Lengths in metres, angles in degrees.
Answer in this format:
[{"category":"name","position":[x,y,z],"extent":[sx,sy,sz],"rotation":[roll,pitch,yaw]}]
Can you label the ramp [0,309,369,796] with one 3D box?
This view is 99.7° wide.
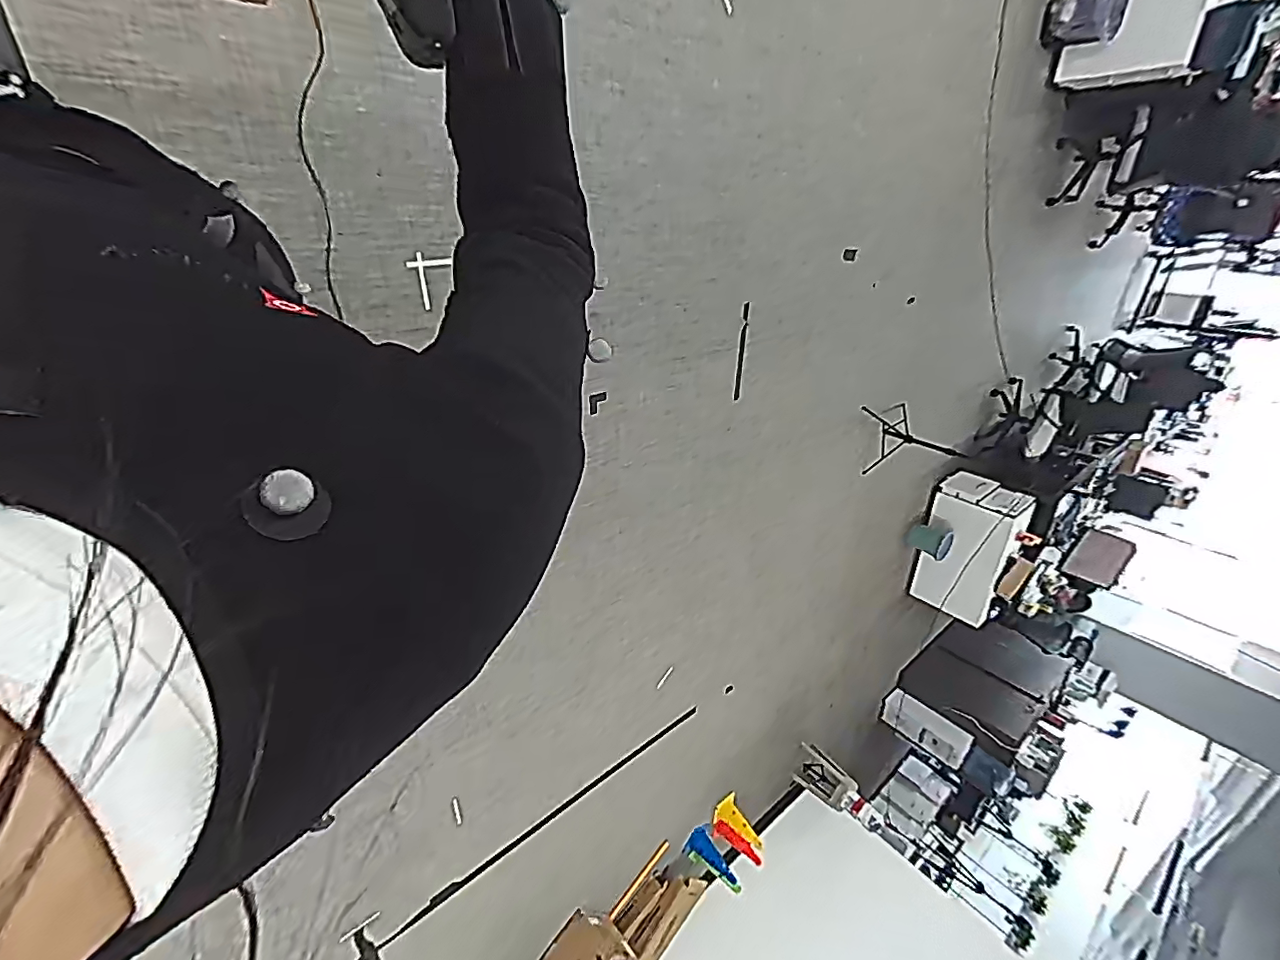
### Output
[{"category":"ramp","position":[-0.963,0.160,1.178],"extent":[0.509,0.206,0.991],"rotation":[-18,122,-34]}]
